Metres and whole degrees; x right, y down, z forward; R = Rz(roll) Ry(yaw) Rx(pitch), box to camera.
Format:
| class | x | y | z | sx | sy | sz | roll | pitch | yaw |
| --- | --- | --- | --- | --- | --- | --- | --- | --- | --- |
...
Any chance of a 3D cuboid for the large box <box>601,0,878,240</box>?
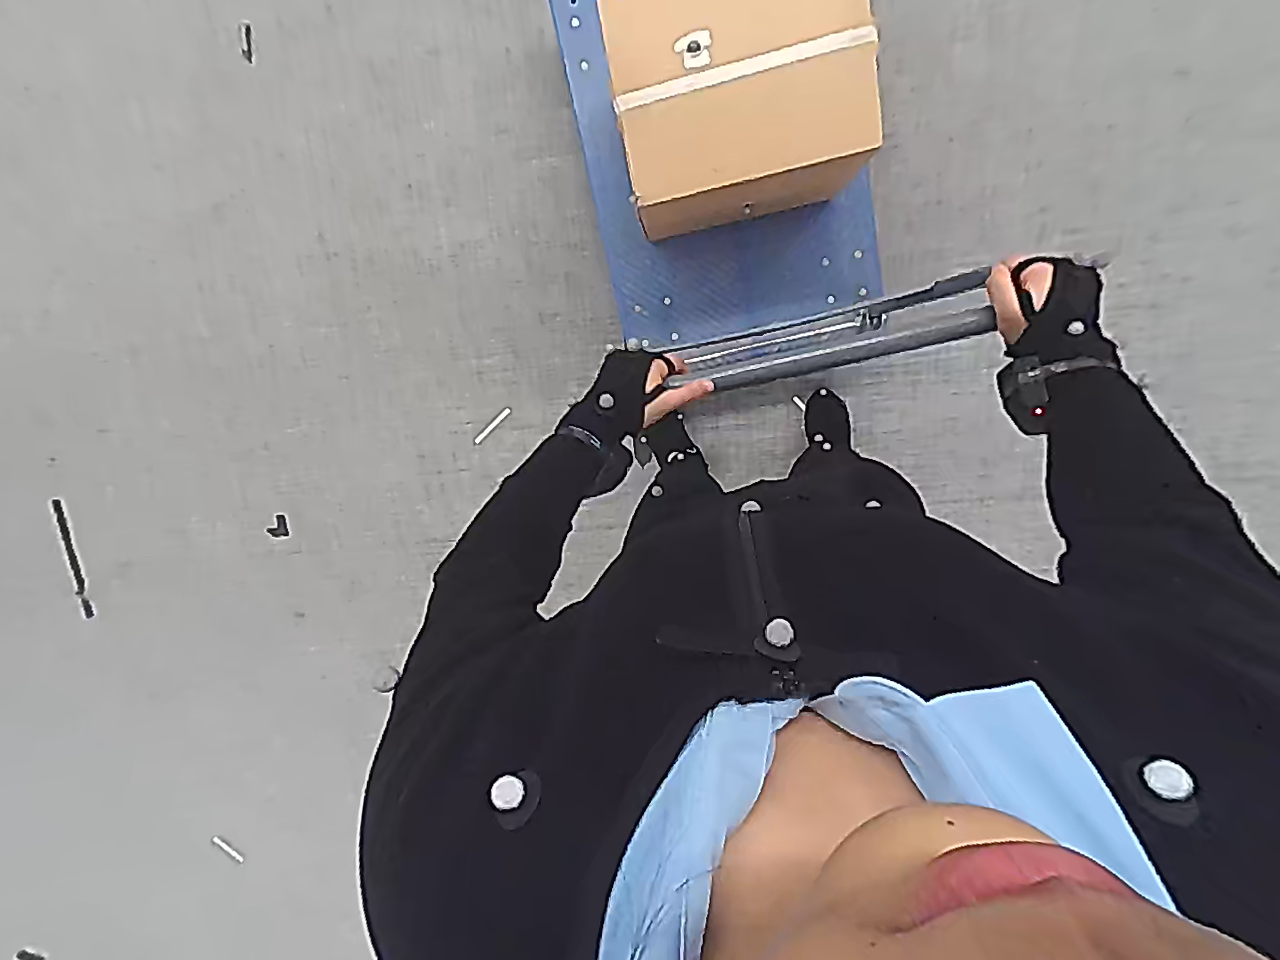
| class | x | y | z | sx | sy | sz | roll | pitch | yaw |
| --- | --- | --- | --- | --- | --- | --- | --- | --- | --- |
| large box | 0.176 | -0.681 | 1.010 | 0.408 | 0.320 | 0.320 | -11 | 101 | 8 |
